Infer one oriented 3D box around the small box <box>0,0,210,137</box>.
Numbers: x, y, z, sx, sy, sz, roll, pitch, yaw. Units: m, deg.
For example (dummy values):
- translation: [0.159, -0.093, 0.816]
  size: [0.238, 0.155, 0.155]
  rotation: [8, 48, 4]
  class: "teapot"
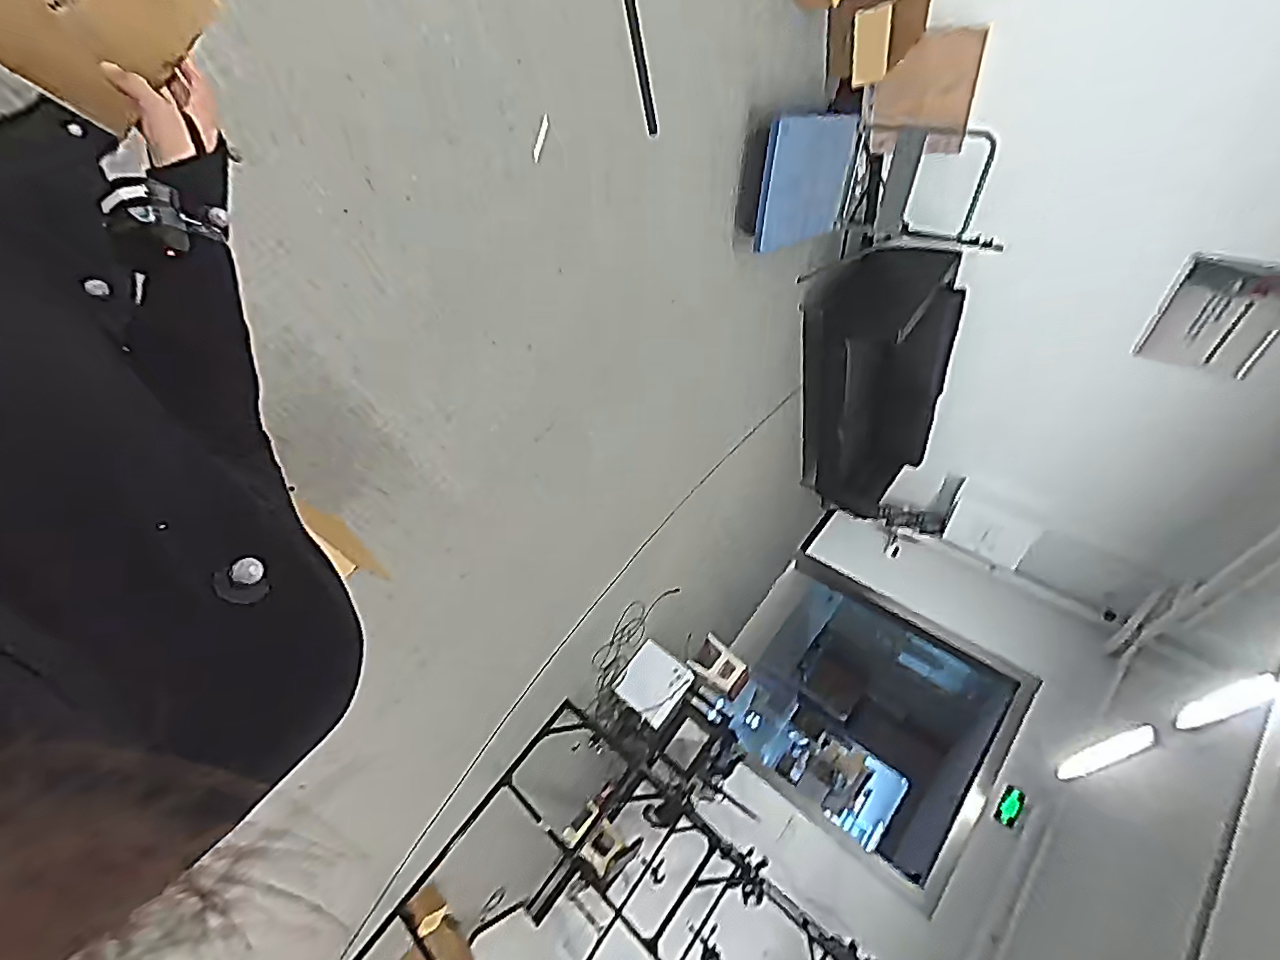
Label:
- translation: [-0.530, -0.453, 0.457]
  size: [0.168, 0.176, 0.179]
  rotation: [-45, 160, 9]
  class: "small box"
